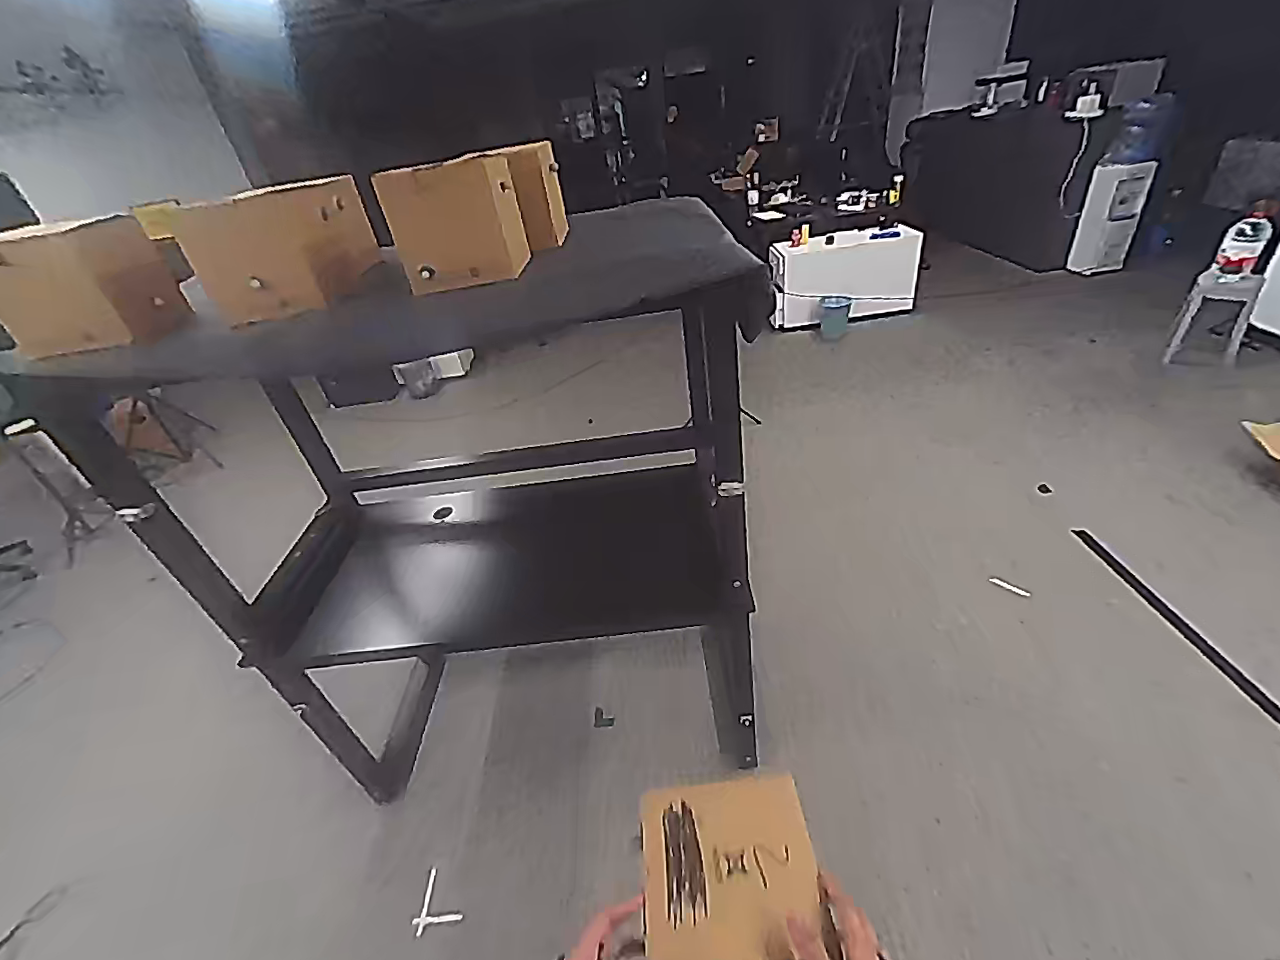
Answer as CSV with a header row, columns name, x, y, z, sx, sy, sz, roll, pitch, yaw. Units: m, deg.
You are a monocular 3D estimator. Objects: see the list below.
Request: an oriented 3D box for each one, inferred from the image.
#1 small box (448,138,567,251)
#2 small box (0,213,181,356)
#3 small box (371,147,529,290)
name,x,y,z,sx,sy,sz,roll,pitch,yaw
small box,-0.241,-0.540,1.033,0.168,0.176,0.179,-7,36,4
small box,-0.896,-0.314,0.866,0.168,0.176,0.179,-11,35,-3
small box,-0.281,-0.408,0.849,0.168,0.176,0.179,-9,33,3
